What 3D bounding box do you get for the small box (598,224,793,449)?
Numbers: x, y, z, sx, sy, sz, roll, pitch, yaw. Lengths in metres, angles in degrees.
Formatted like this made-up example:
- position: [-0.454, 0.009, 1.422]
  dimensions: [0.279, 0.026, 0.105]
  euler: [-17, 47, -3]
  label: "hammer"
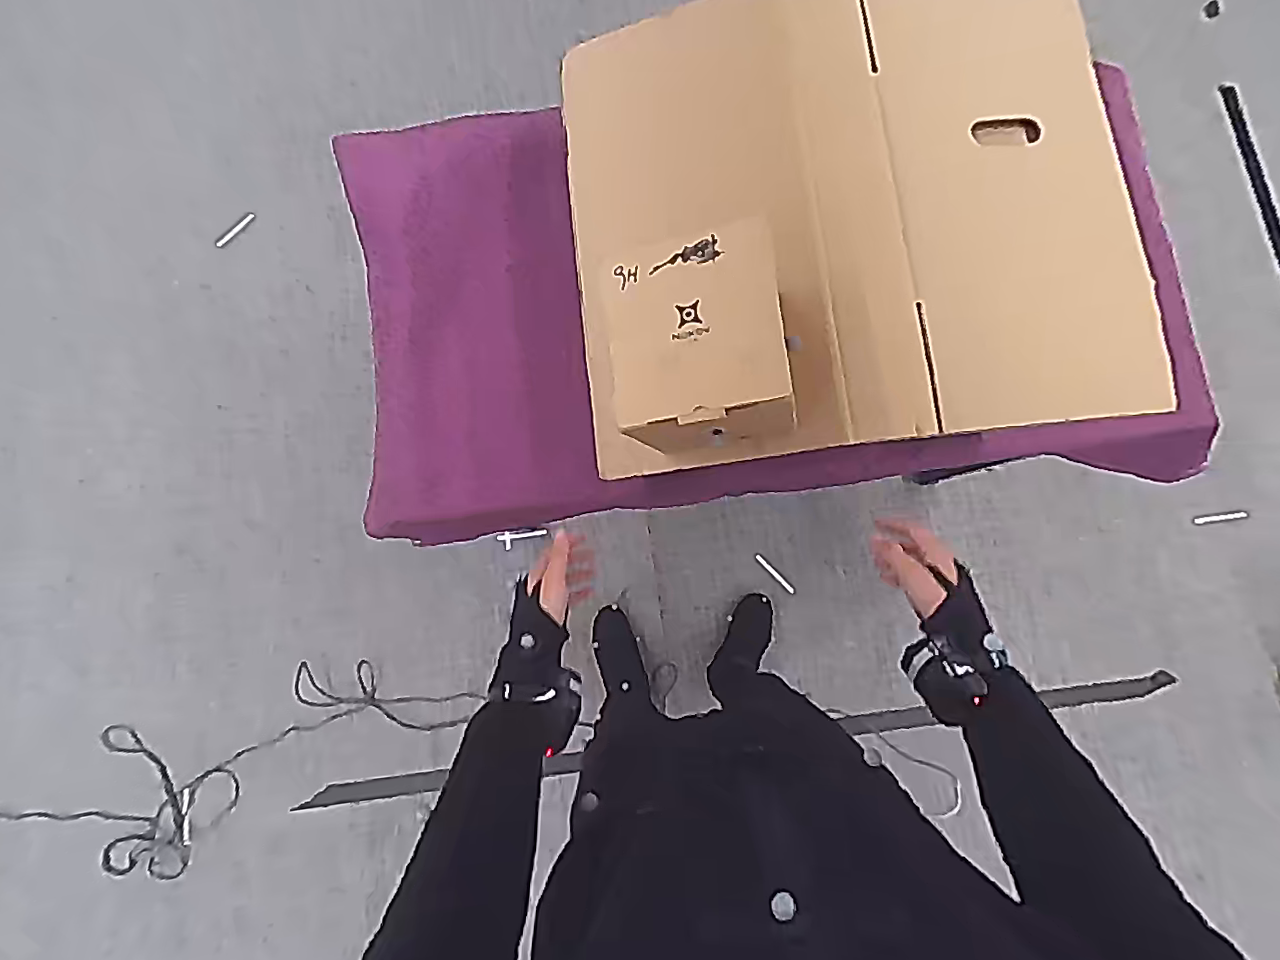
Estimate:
- position: [0.068, -0.132, 0.581]
  dimensions: [0.168, 0.176, 0.179]
  euler: [-9, 83, 16]
  label: "small box"
